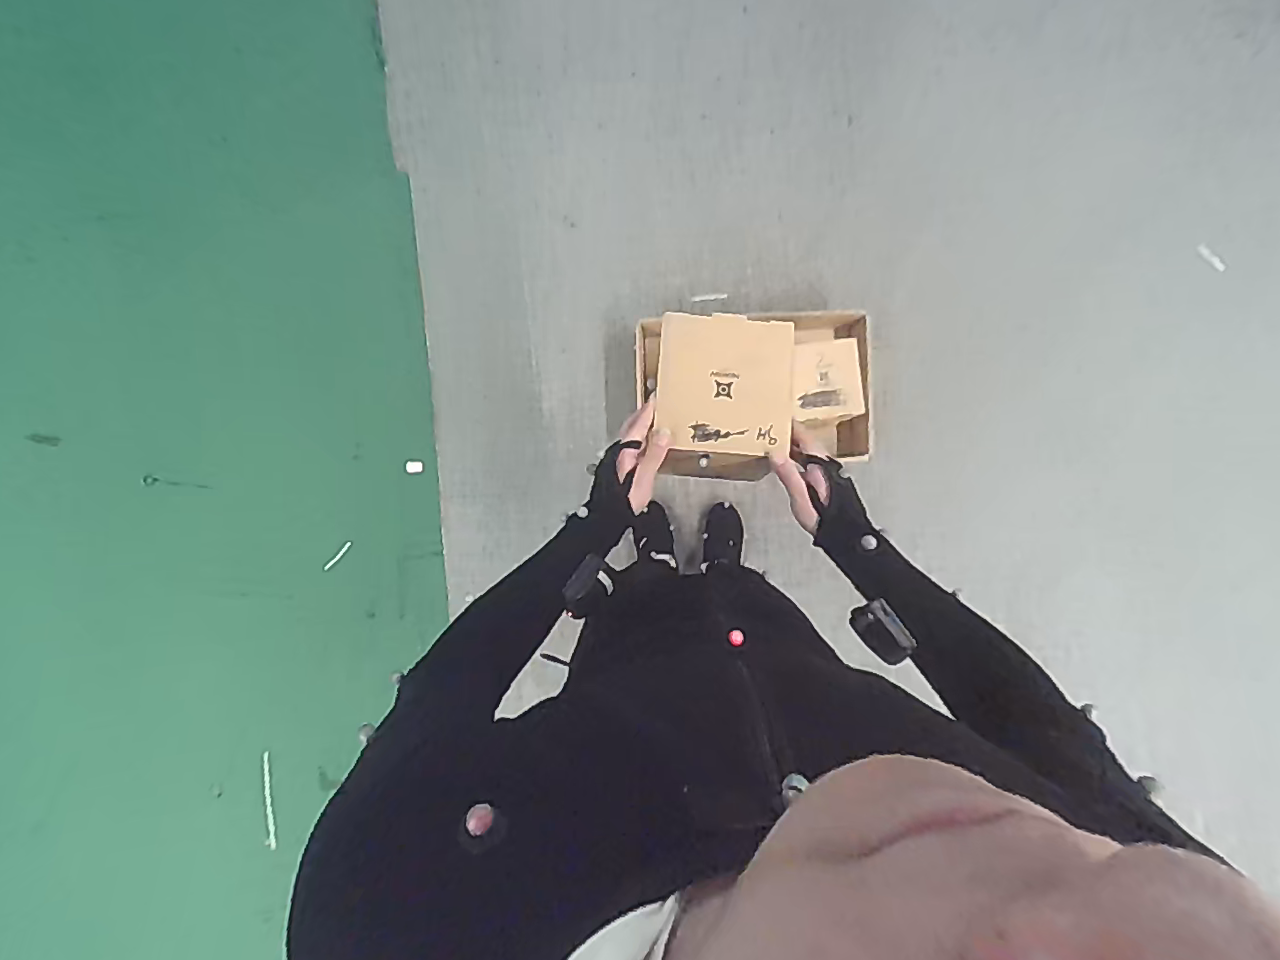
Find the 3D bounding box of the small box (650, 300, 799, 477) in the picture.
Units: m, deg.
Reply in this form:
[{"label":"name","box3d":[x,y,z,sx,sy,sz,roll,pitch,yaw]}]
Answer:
[{"label":"small box","box3d":[0.102,-0.110,0.711,0.168,0.176,0.179,5,80,2]}]
